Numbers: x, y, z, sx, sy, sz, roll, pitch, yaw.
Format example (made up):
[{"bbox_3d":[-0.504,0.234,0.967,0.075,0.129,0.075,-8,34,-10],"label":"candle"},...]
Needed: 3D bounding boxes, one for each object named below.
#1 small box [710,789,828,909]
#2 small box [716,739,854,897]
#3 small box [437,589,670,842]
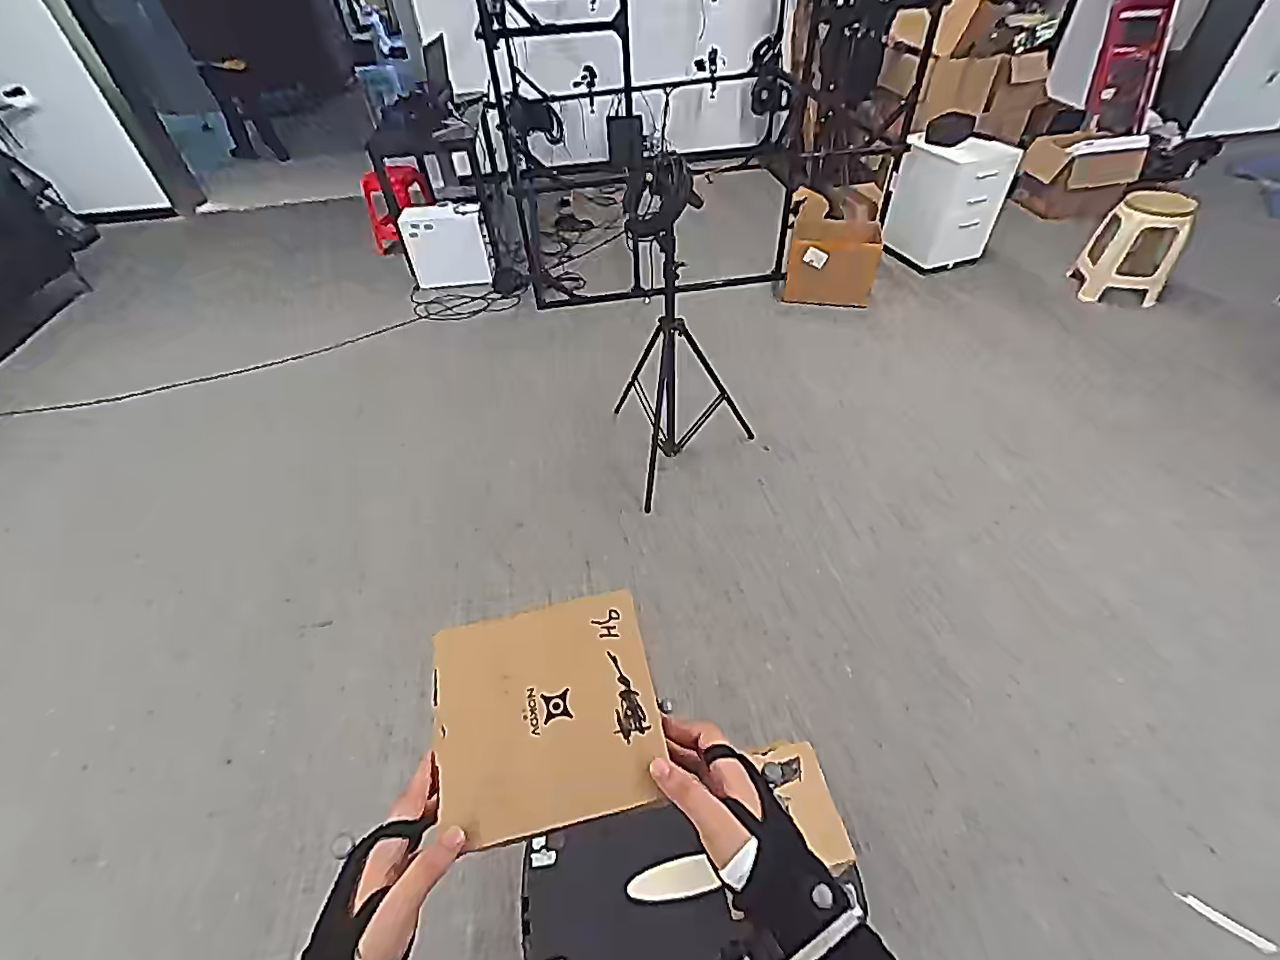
[{"bbox_3d":[0.232,0.694,1.035,0.168,0.176,0.179,-11,46,-6],"label":"small box"},{"bbox_3d":[0.232,0.575,0.921,0.168,0.176,0.179,-11,47,-6],"label":"small box"},{"bbox_3d":[-0.073,0.224,0.504,0.179,0.176,0.168,-11,58,-5],"label":"small box"}]
